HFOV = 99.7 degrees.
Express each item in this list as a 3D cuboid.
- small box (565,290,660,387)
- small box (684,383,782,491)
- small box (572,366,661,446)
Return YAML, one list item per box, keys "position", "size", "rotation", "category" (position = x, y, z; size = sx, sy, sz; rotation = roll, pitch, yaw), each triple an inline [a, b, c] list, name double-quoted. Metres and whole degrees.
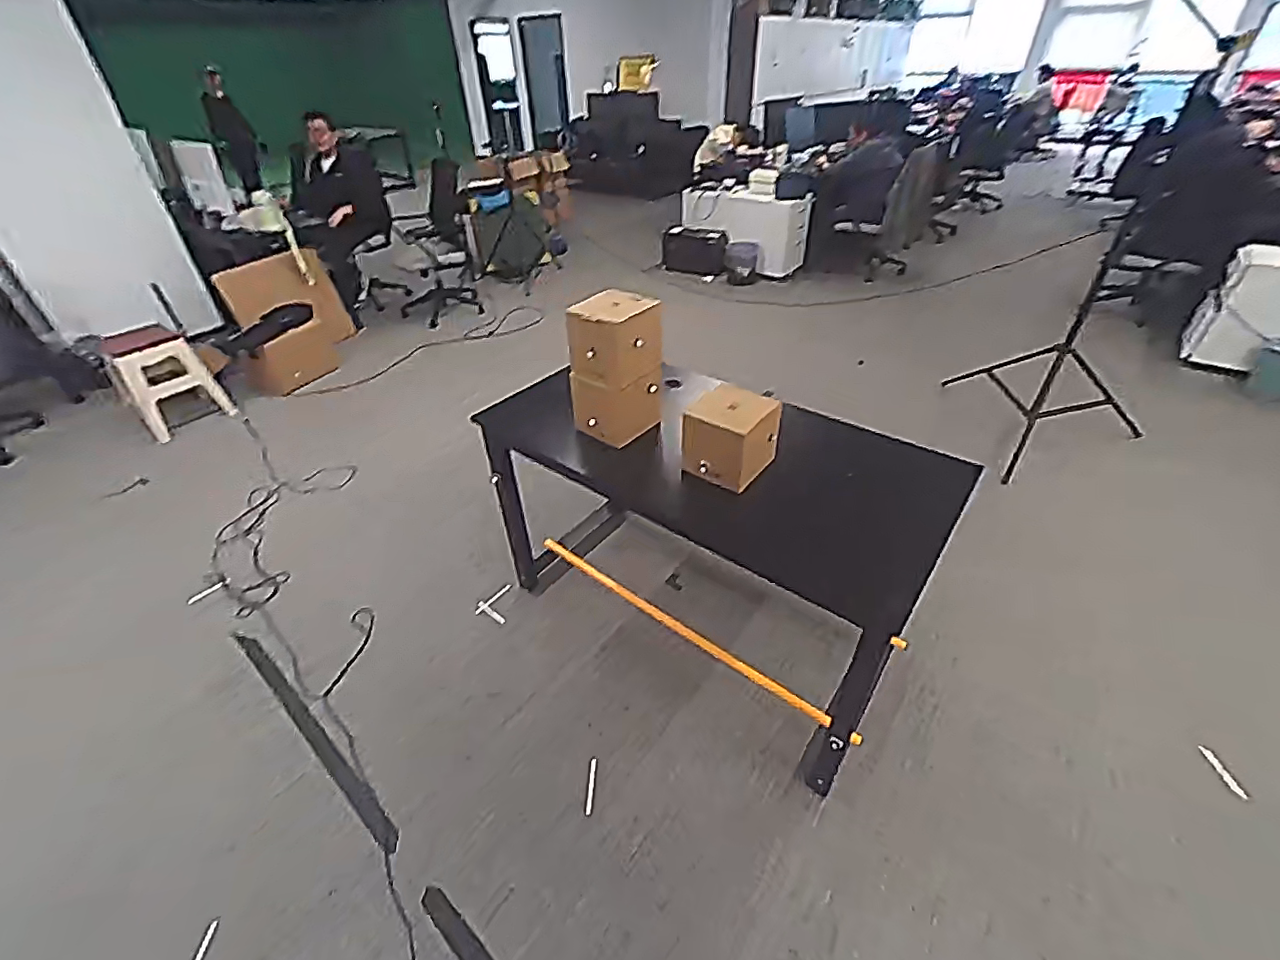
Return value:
- position: [-0.061, -0.353, 1.348]
  size: [0.168, 0.176, 0.179]
  rotation: [25, 46, 29]
  category: "small box"
- position: [0.216, -0.103, 1.288]
  size: [0.168, 0.176, 0.179]
  rotation: [23, 45, 30]
  category: "small box"
- position: [-0.062, -0.219, 1.442]
  size: [0.168, 0.176, 0.179]
  rotation: [27, 46, 31]
  category: "small box"
